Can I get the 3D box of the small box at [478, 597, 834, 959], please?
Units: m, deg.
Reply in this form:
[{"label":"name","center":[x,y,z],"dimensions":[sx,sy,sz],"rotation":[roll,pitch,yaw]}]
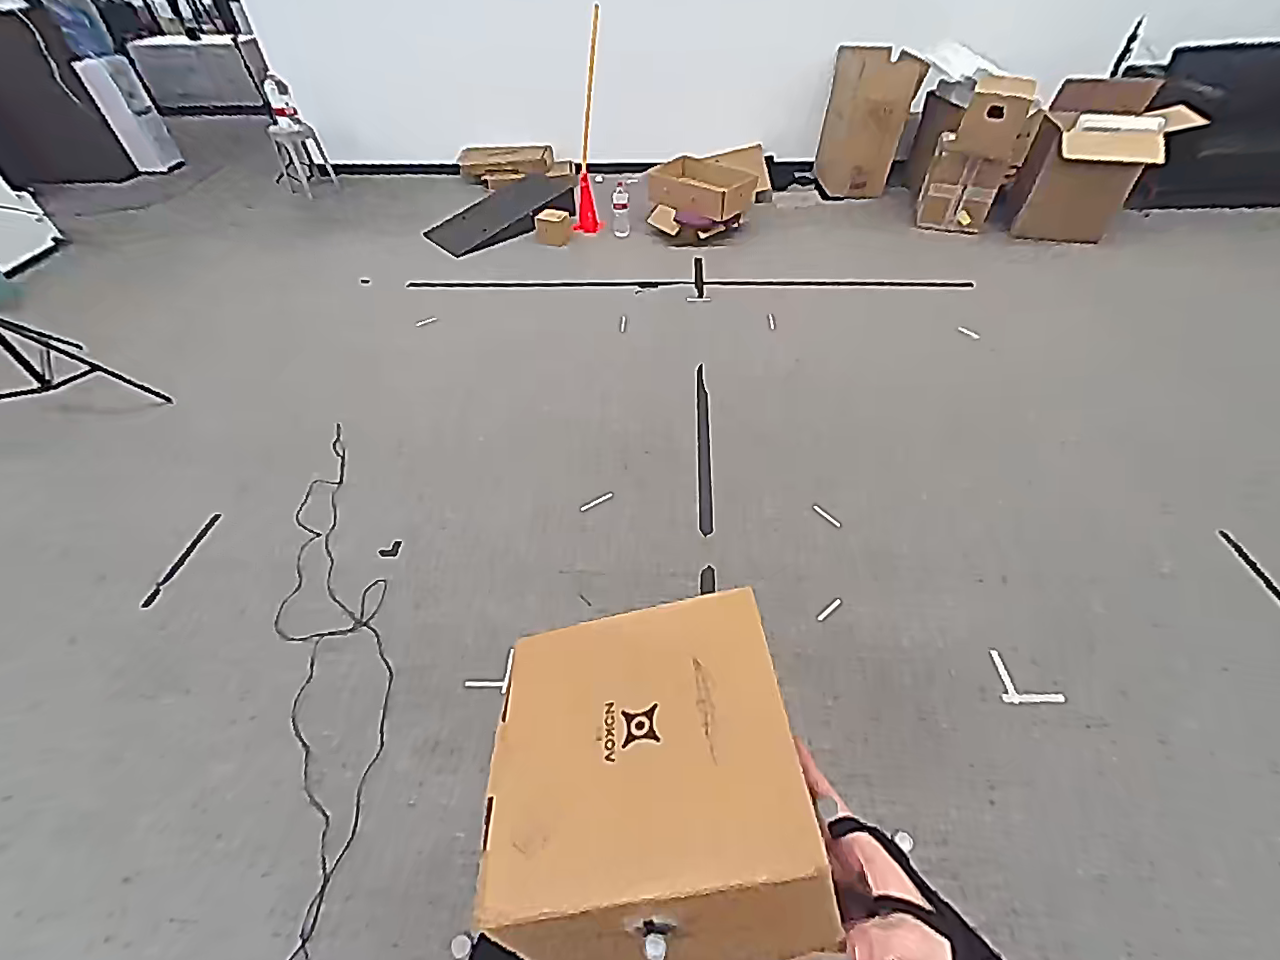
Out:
[{"label":"small box","center":[0.019,0.212,0.372],"dimensions":[0.179,0.176,0.168],"rotation":[-14,38,7]}]
